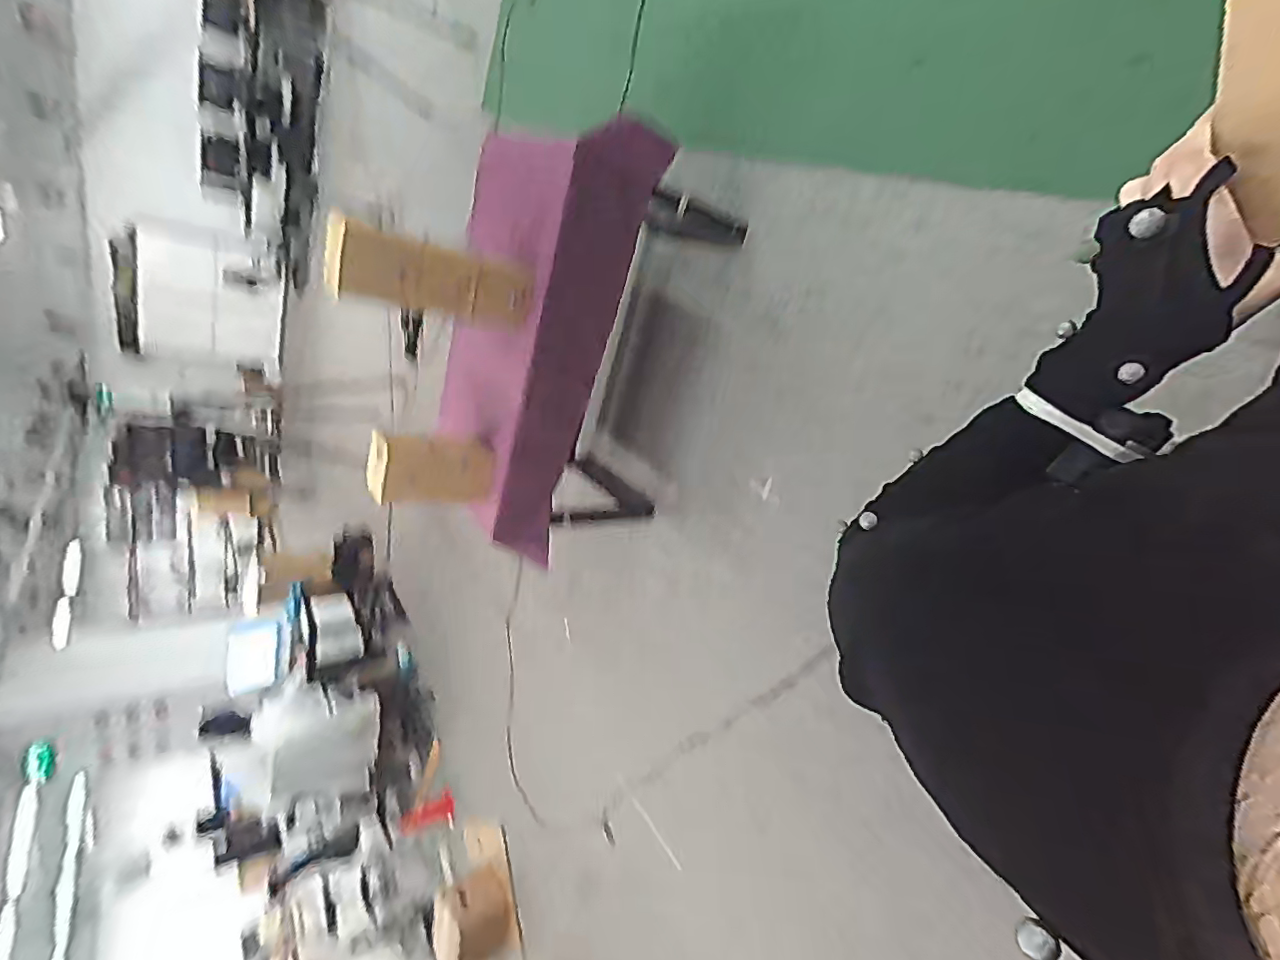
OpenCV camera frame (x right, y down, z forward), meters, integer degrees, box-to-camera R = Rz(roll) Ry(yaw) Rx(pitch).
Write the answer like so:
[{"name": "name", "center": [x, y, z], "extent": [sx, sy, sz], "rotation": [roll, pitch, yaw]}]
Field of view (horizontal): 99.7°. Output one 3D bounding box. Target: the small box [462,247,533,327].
[{"name": "small box", "center": [-0.439, -0.562, 1.587], "extent": [0.179, 0.176, 0.168], "rotation": [40, 119, 41]}]

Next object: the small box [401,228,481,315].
[{"name": "small box", "center": [-0.560, -0.565, 1.479], "extent": [0.179, 0.176, 0.168], "rotation": [40, 118, 40]}]

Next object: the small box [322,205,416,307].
[{"name": "small box", "center": [-0.683, -0.563, 1.369], "extent": [0.168, 0.176, 0.179], "rotation": [42, 119, 40]}]

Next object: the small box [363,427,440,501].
[{"name": "small box", "center": [-0.734, -0.050, 1.671], "extent": [0.168, 0.176, 0.179], "rotation": [34, 115, 43]}]
